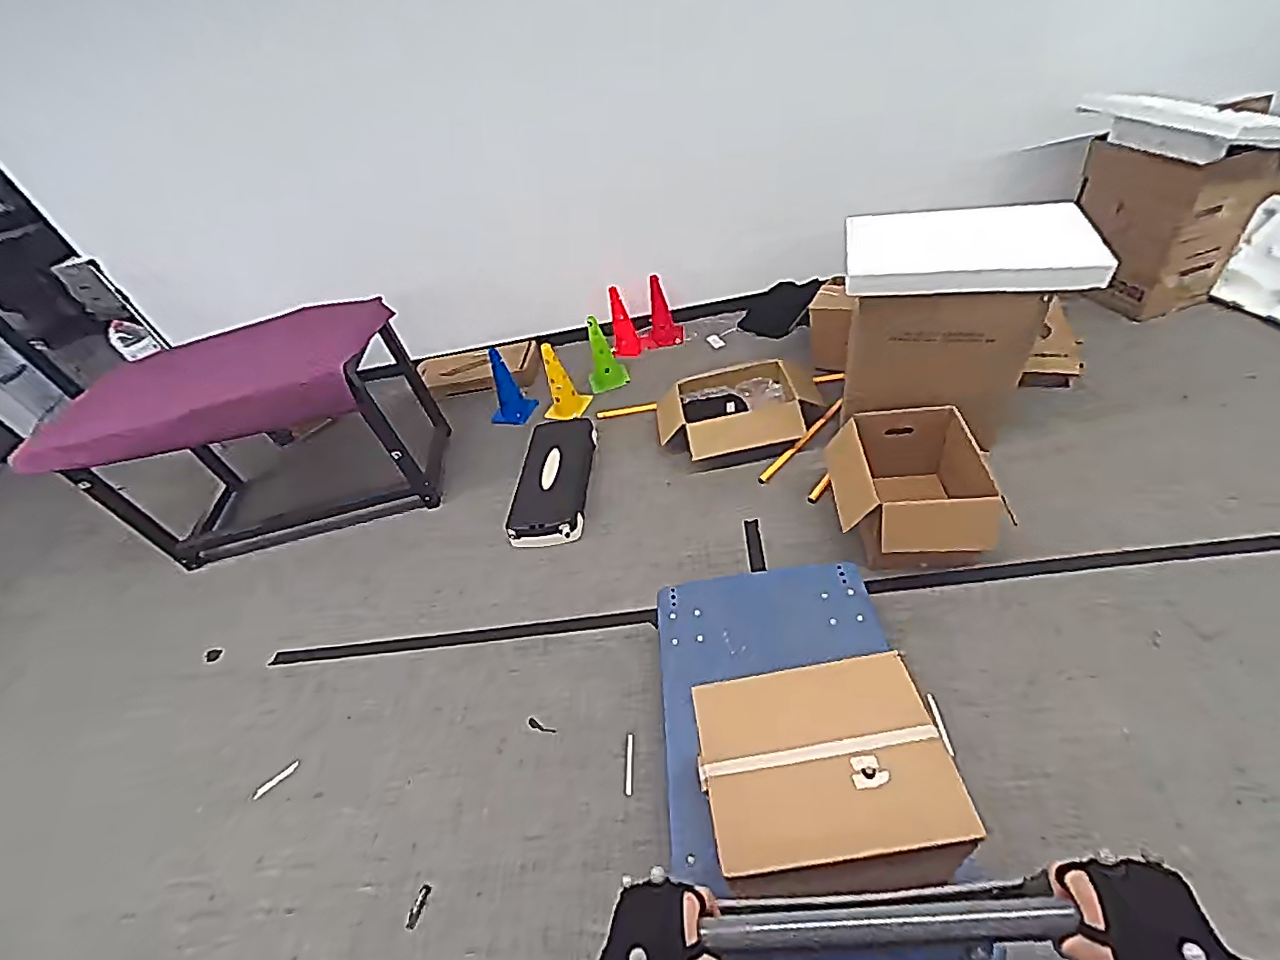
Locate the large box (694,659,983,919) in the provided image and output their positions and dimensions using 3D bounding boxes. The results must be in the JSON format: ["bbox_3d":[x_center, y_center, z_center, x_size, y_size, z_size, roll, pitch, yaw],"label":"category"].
[{"bbox_3d":[0.339,0.592,1.035,0.408,0.320,0.320,-11,43,3],"label":"large box"}]
